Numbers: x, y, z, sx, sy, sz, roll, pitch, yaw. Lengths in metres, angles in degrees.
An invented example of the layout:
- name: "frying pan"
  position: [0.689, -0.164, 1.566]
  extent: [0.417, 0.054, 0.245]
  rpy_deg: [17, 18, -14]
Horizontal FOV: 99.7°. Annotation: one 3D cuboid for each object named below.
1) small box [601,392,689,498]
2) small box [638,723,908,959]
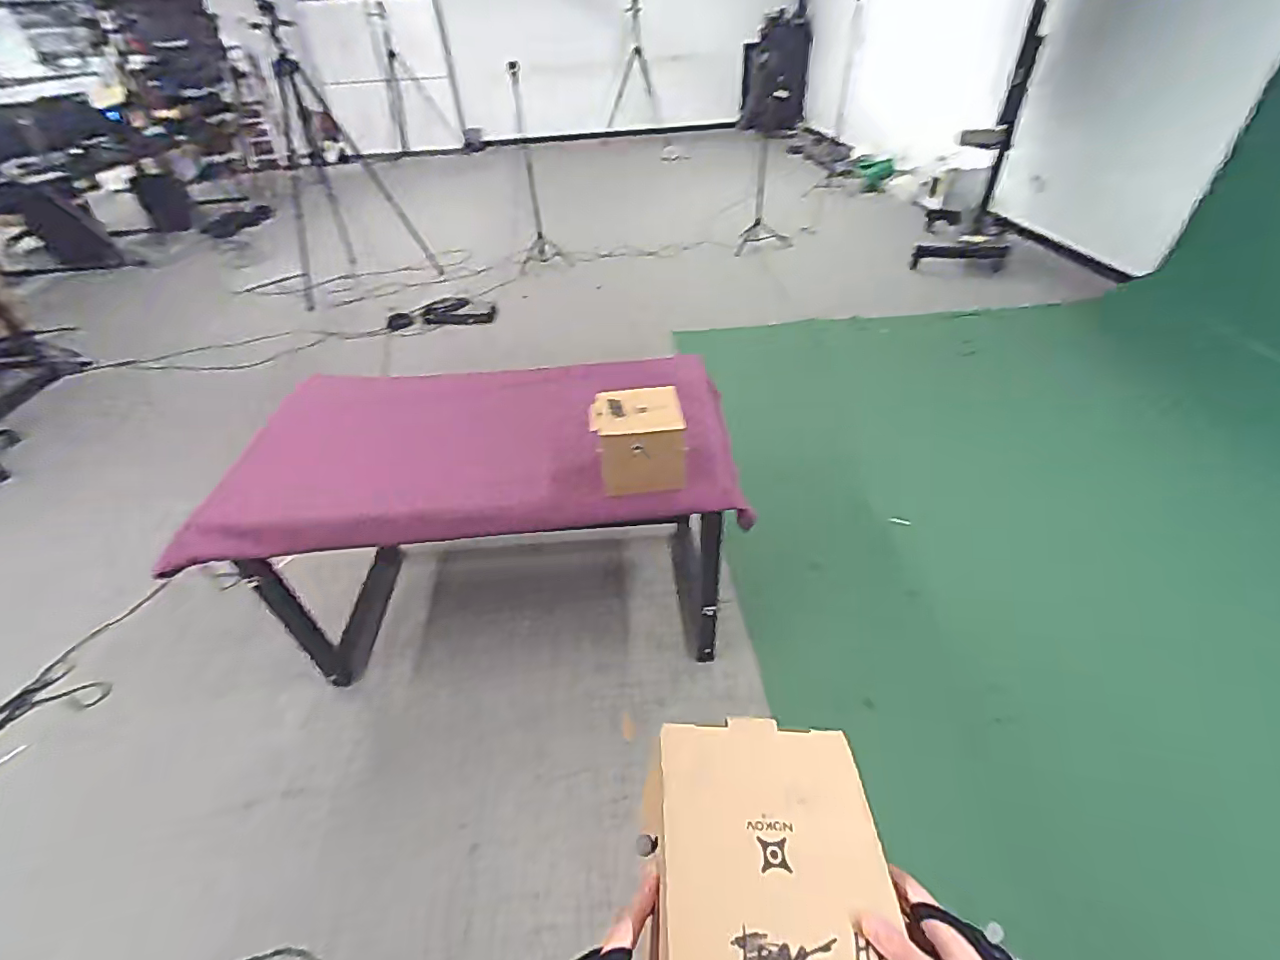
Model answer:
- name: "small box"
  position: [0.012, -0.075, 1.200]
  extent: [0.179, 0.176, 0.168]
  rpy_deg: [-6, 41, -2]
- name: "small box"
  position: [0.087, 0.332, 0.453]
  extent: [0.168, 0.176, 0.179]
  rpy_deg: [4, 37, -4]
